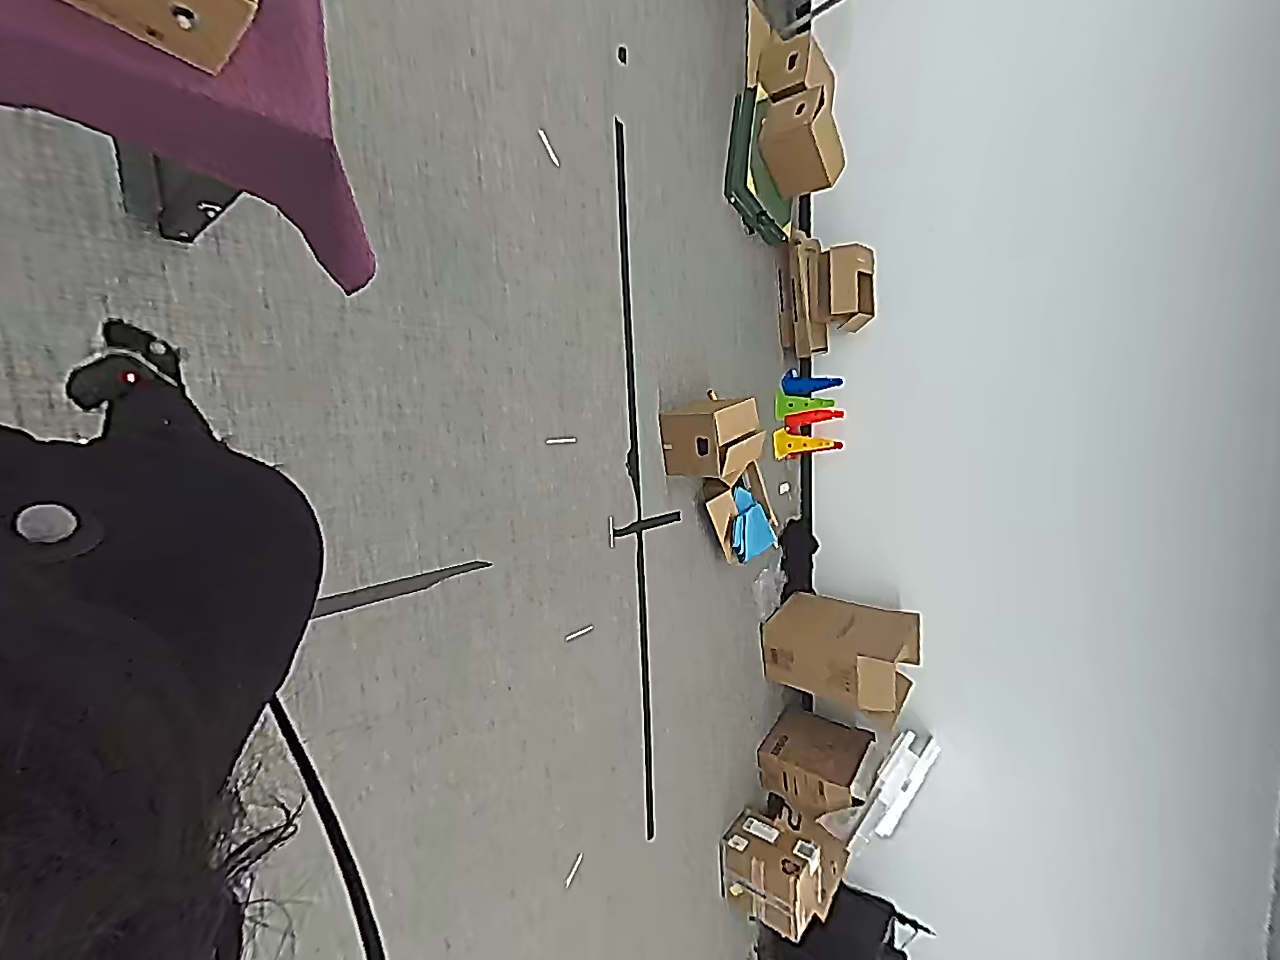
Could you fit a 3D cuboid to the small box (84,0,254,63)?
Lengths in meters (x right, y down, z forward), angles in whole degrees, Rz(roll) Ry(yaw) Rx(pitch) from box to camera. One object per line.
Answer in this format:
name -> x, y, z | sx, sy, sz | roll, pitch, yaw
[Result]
small box -> -0.503, -0.580, 0.544 | 0.168, 0.176, 0.179 | 4, 88, -53
